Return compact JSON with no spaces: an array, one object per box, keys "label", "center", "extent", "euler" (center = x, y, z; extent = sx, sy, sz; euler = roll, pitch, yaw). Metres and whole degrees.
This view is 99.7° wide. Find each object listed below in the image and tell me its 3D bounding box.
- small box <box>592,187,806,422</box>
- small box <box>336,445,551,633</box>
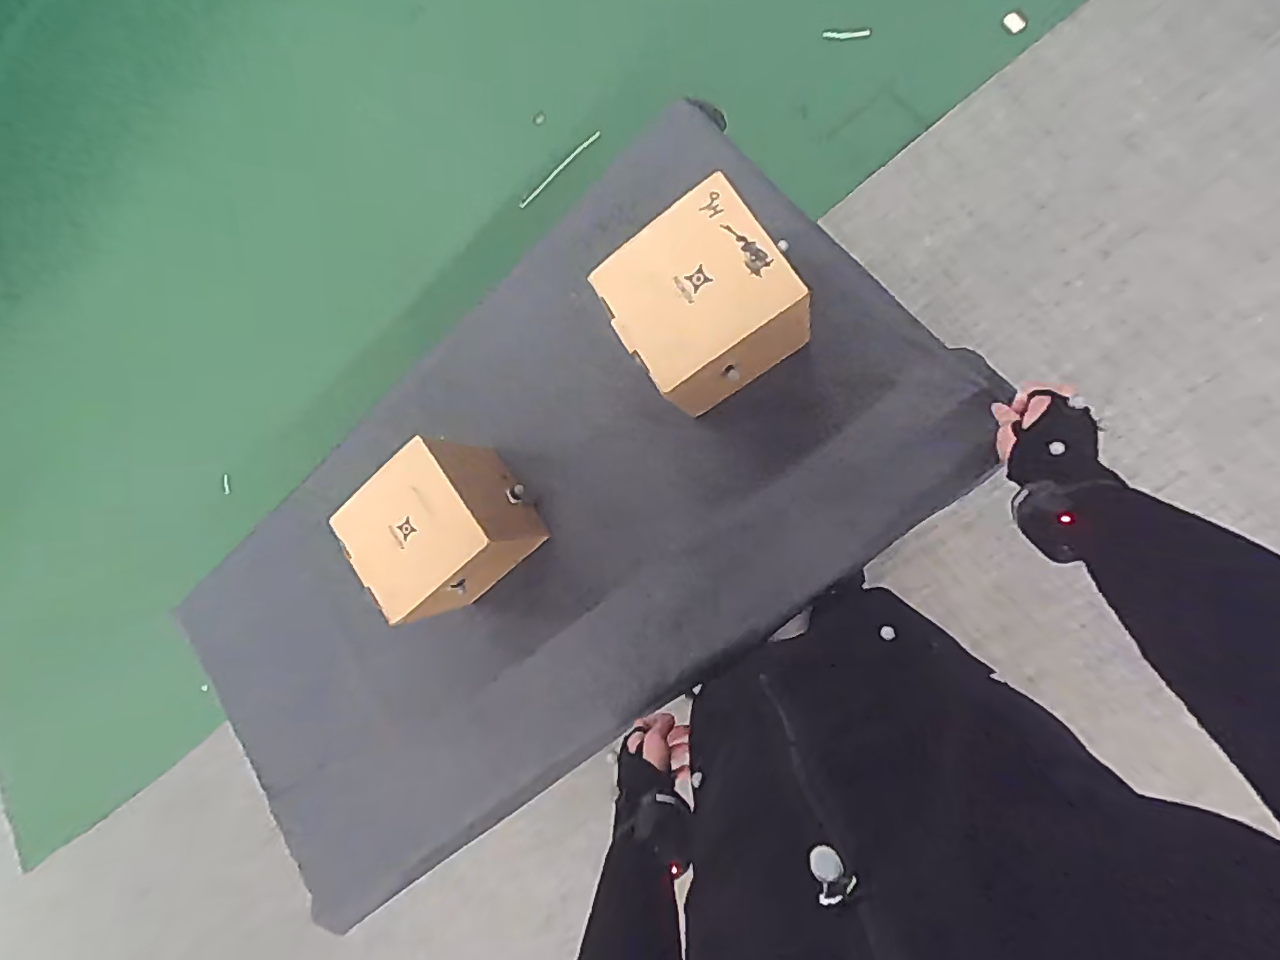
[{"label":"small box","center":[0.079,-0.186,0.637],"extent":[0.179,0.176,0.168],"euler":[-34,78,14]},{"label":"small box","center":[-0.255,0.076,0.732],"extent":[0.179,0.176,0.168],"euler":[-40,77,10]}]
